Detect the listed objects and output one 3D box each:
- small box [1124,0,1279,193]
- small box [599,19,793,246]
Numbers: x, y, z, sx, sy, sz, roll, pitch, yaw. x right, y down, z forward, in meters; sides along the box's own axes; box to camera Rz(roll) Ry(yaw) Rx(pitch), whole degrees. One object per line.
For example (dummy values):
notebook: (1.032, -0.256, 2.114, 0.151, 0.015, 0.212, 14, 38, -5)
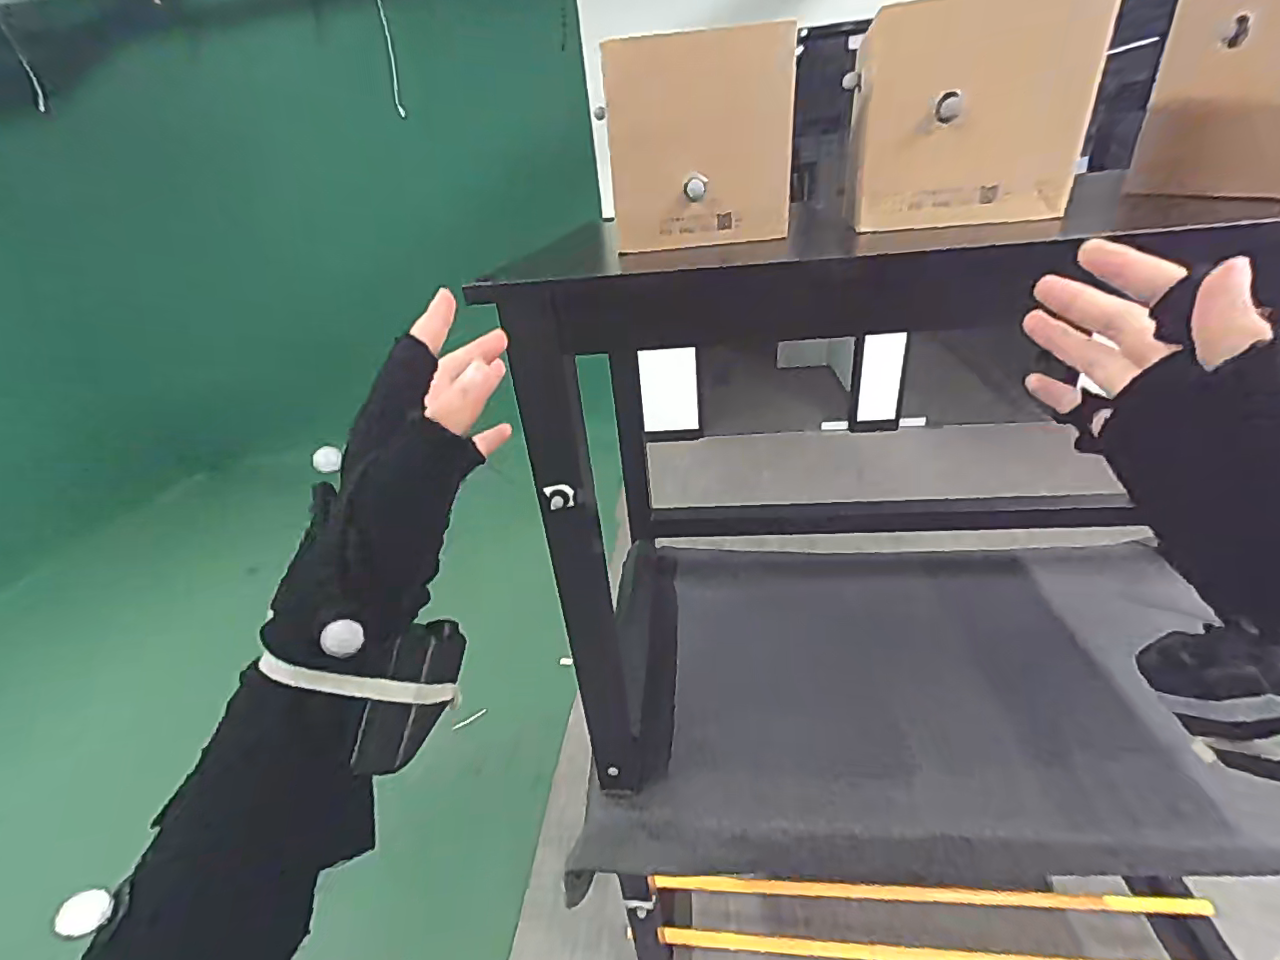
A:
small box: (0.581, -0.347, 0.464, 0.168, 0.176, 0.179, -5, 29, 4)
small box: (0.051, -0.344, 0.561, 0.168, 0.176, 0.179, -5, 29, 2)
